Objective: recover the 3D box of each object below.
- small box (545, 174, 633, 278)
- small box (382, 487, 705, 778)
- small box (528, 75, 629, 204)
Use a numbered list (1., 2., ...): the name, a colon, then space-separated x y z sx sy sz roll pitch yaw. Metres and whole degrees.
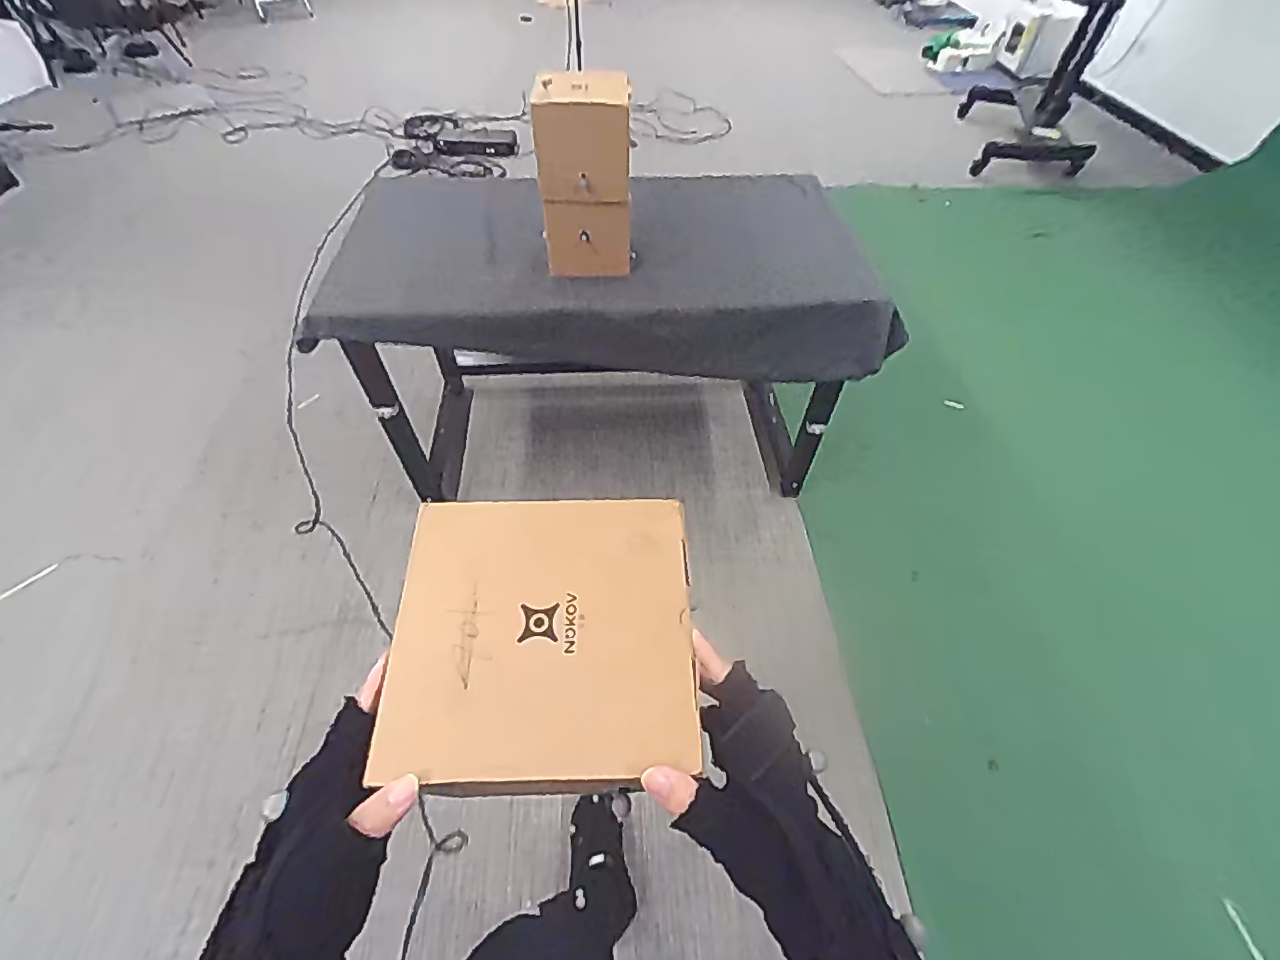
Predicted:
1. small box: -0.113 -0.559 1.181 0.179 0.176 0.168 -4 52 -6
2. small box: -0.055 0.119 0.398 0.179 0.176 0.168 -2 57 -2
3. small box: -0.112 -0.655 1.049 0.179 0.176 0.168 0 51 -2
